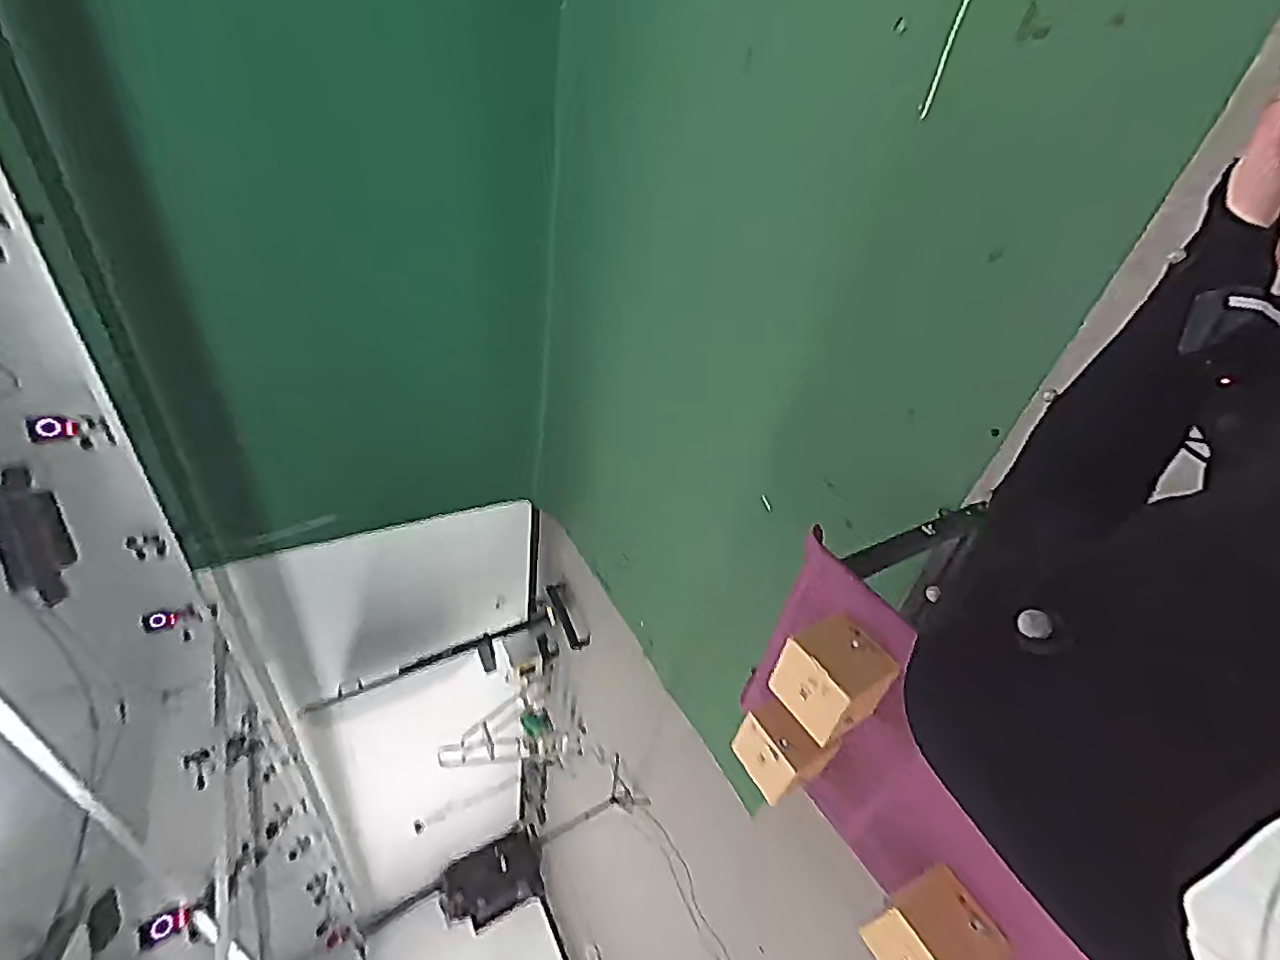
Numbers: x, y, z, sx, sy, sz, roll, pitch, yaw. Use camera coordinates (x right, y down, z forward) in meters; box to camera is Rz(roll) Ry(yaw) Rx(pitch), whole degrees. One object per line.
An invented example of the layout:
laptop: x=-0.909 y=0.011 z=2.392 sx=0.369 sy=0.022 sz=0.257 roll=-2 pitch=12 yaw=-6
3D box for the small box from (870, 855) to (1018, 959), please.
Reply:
small box: x=0.615 y=0.913 z=1.096 sx=0.168 sy=0.176 sz=0.179 roll=48 pitch=139 yaw=37

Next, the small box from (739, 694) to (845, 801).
small box: x=0.383 y=0.659 z=1.364 sx=0.168 sy=0.176 sz=0.179 roll=46 pitch=139 yaw=38

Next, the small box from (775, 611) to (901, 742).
small box: x=0.430 y=0.421 z=1.177 sx=0.168 sy=0.176 sz=0.179 roll=44 pitch=138 yaw=39
